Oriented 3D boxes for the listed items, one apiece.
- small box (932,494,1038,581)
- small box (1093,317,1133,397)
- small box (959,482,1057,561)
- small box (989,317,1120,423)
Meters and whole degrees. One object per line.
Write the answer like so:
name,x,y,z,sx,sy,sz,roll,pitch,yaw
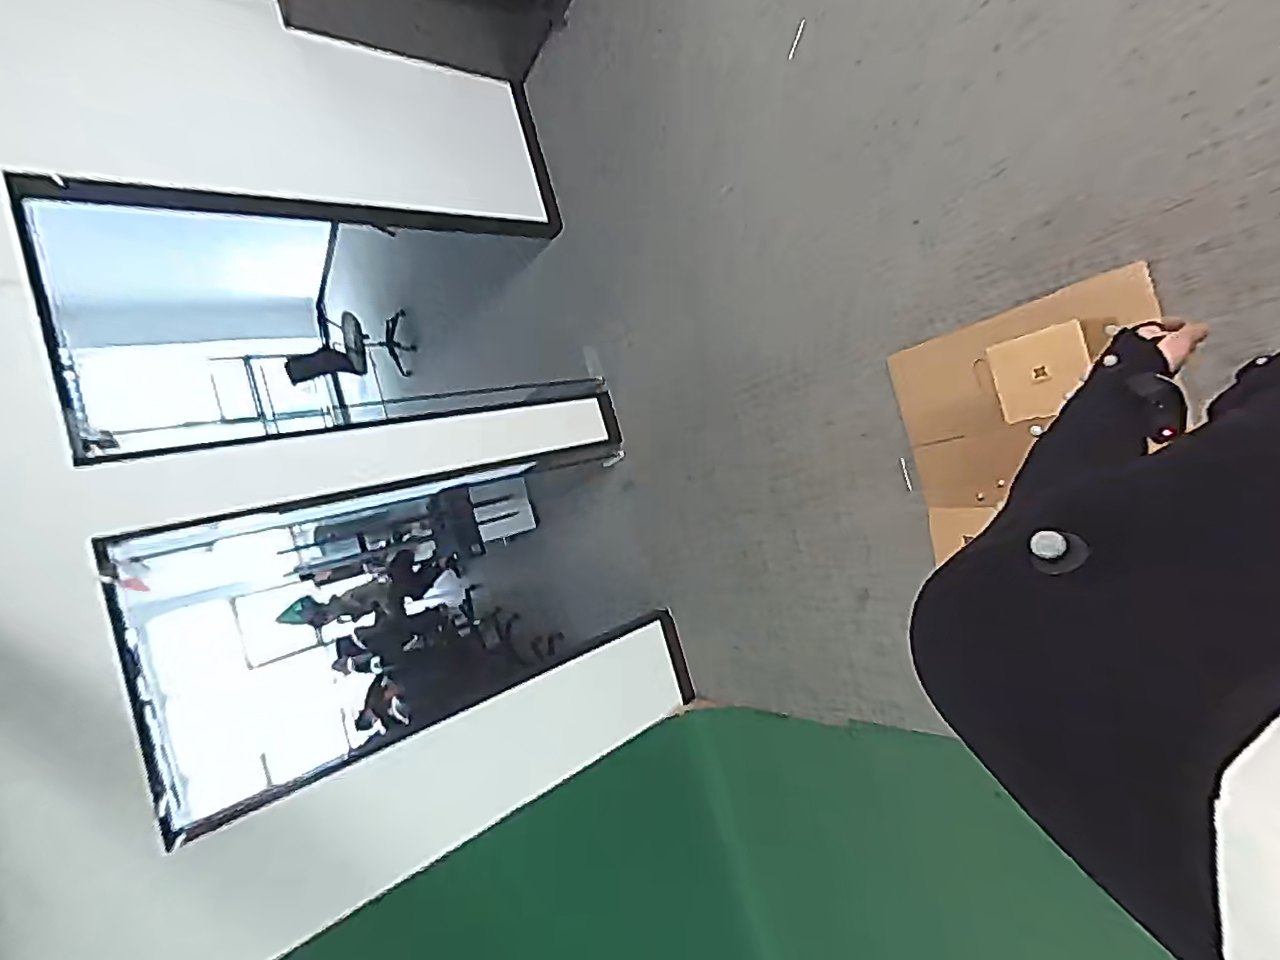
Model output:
small box,0.841,0.131,1.316,0.168,0.176,0.179,-4,98,53
small box,1.003,-0.266,1.254,0.168,0.176,0.179,-16,89,53
small box,0.967,0.102,1.421,0.168,0.176,0.179,-4,98,53
small box,0.883,-0.234,1.151,0.168,0.176,0.179,-17,89,52
